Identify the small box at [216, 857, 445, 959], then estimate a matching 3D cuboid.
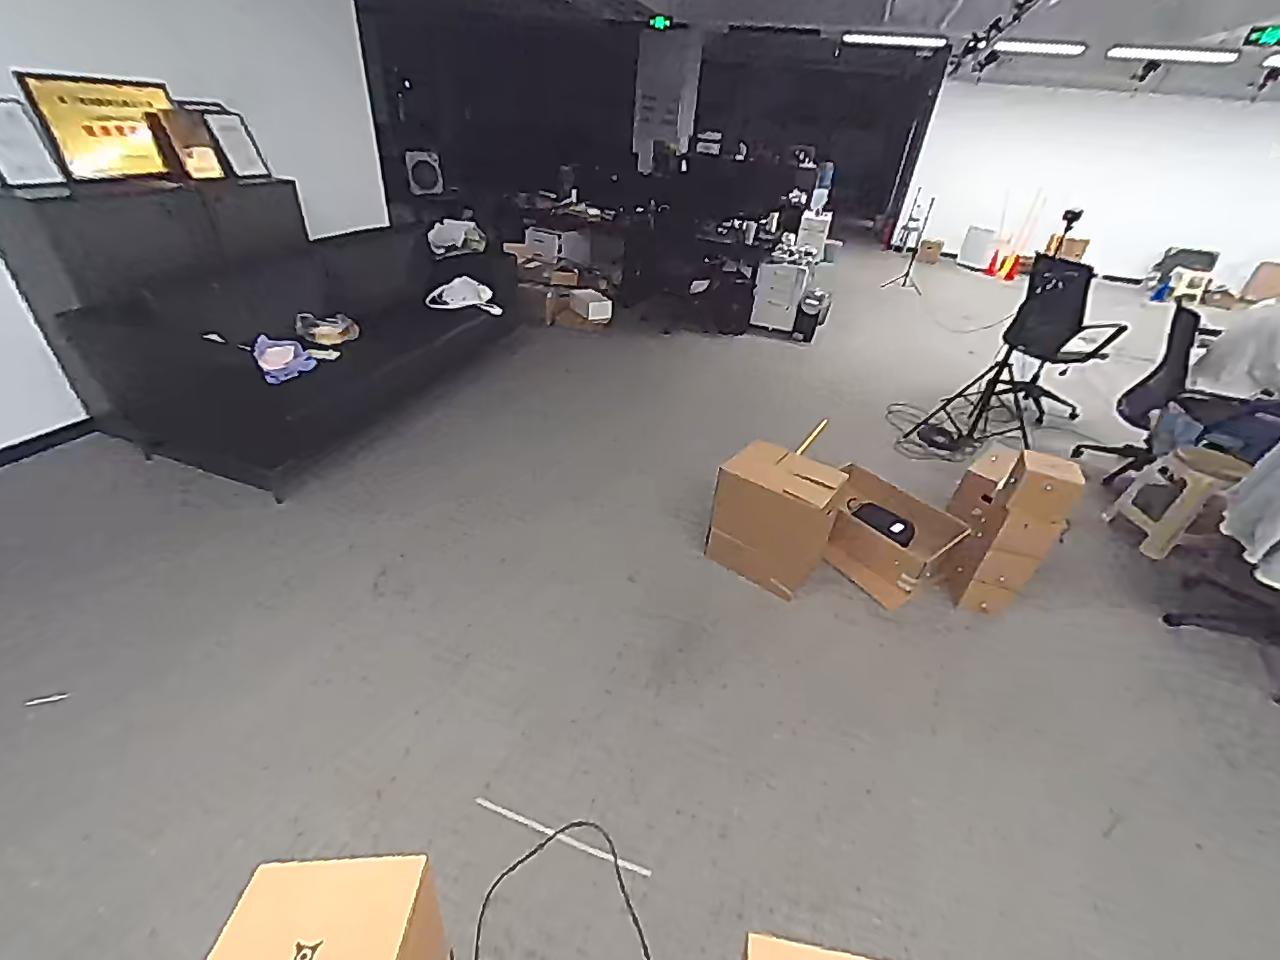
[{"bbox_3d":[-0.290,0.495,0.503,0.168,0.176,0.179,-1,23,-3],"label":"small box"}]
